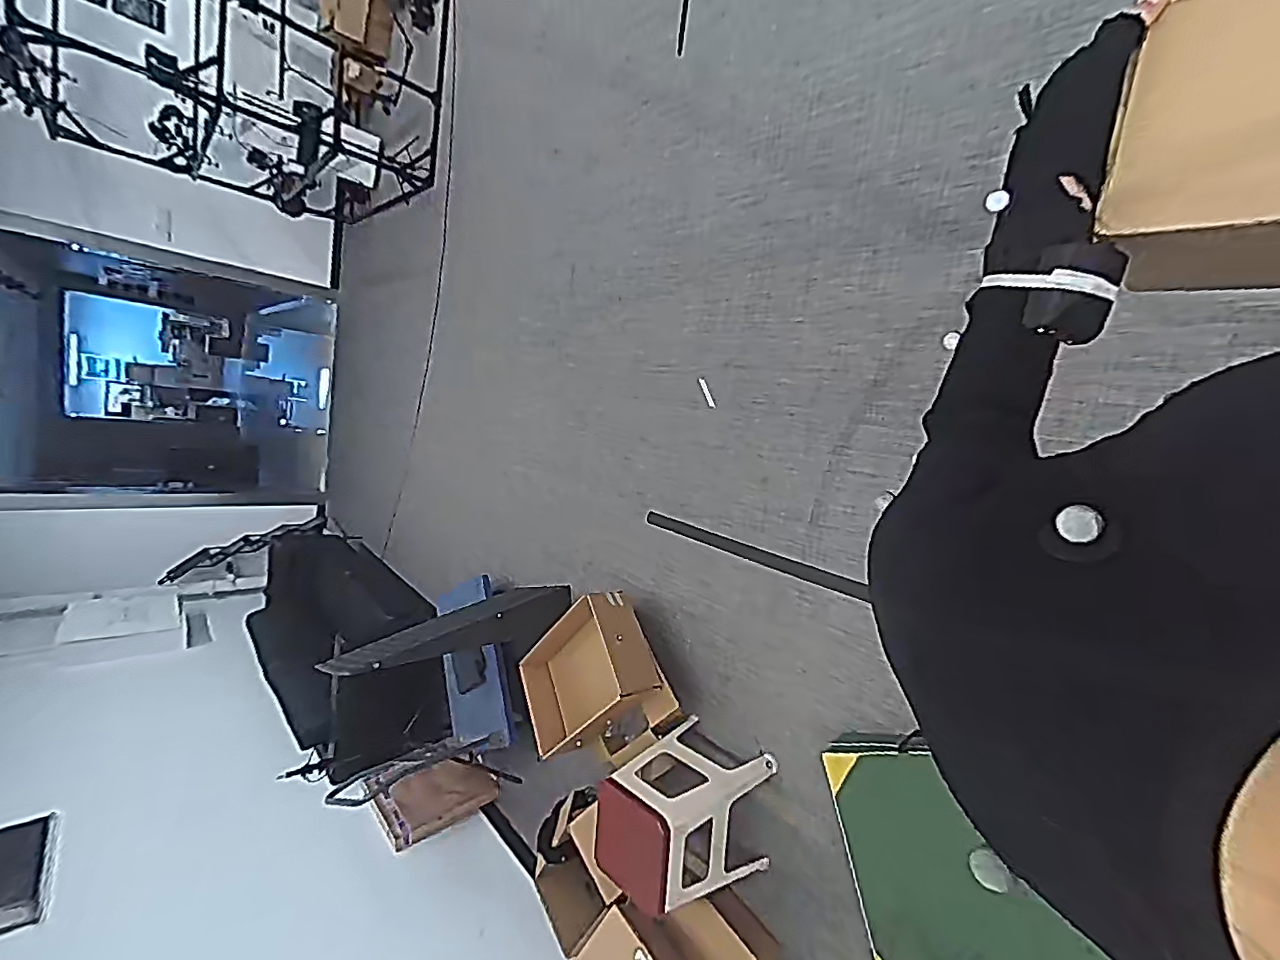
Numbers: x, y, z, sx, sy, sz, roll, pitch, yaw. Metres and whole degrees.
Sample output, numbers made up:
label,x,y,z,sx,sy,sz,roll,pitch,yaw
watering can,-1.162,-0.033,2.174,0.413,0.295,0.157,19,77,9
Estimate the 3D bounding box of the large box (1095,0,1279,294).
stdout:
label,x,y,z,sx,sy,sz,roll,pitch,yaw
large box,0.604,-0.314,0.361,0.408,0.320,0.320,16,107,43
